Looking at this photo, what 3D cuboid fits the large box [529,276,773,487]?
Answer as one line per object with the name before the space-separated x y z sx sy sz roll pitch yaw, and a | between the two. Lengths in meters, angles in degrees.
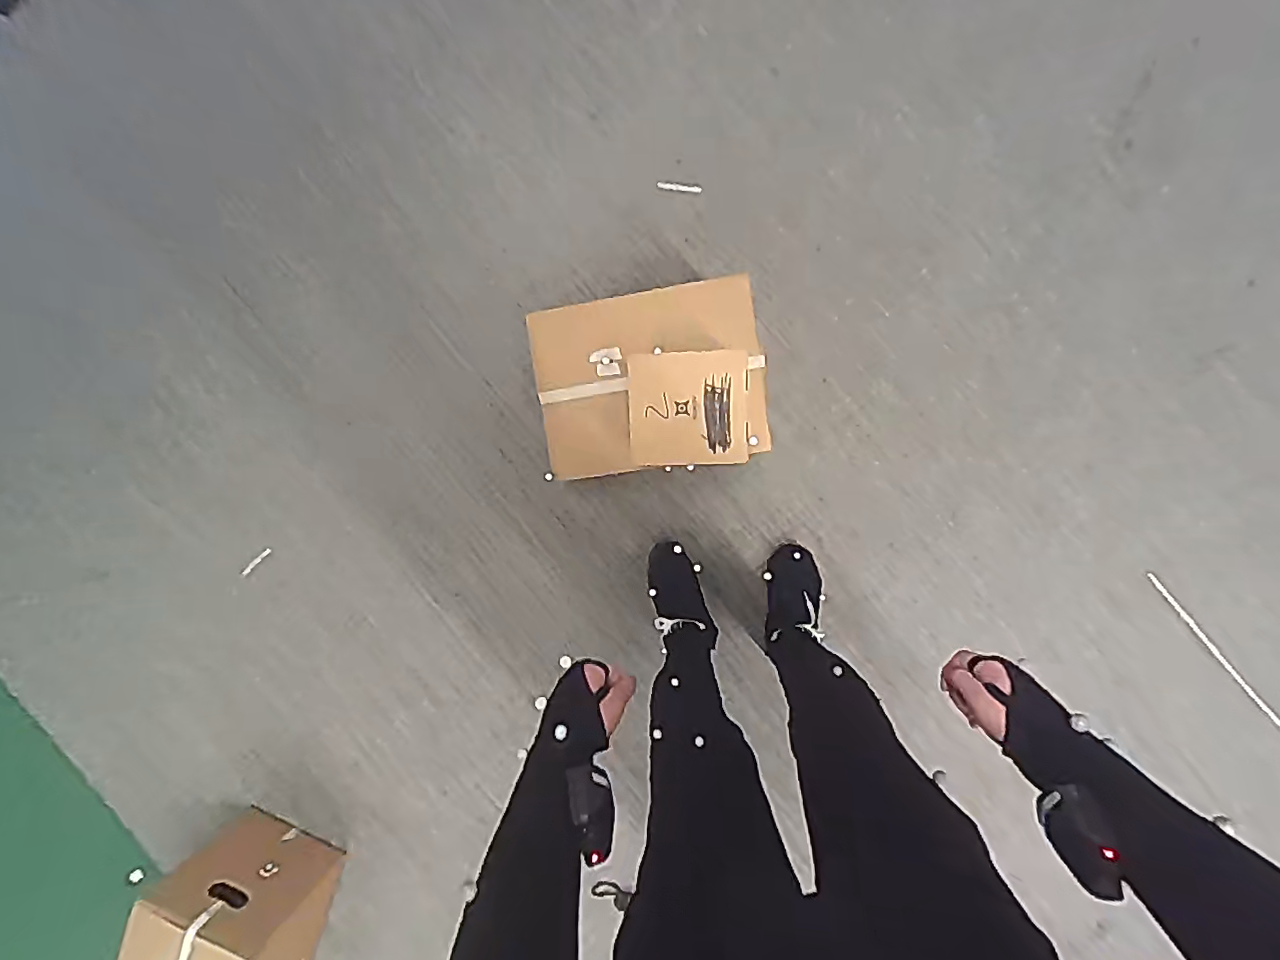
large box | 0.036 -0.181 1.102 0.408 0.320 0.320 -8 93 9
